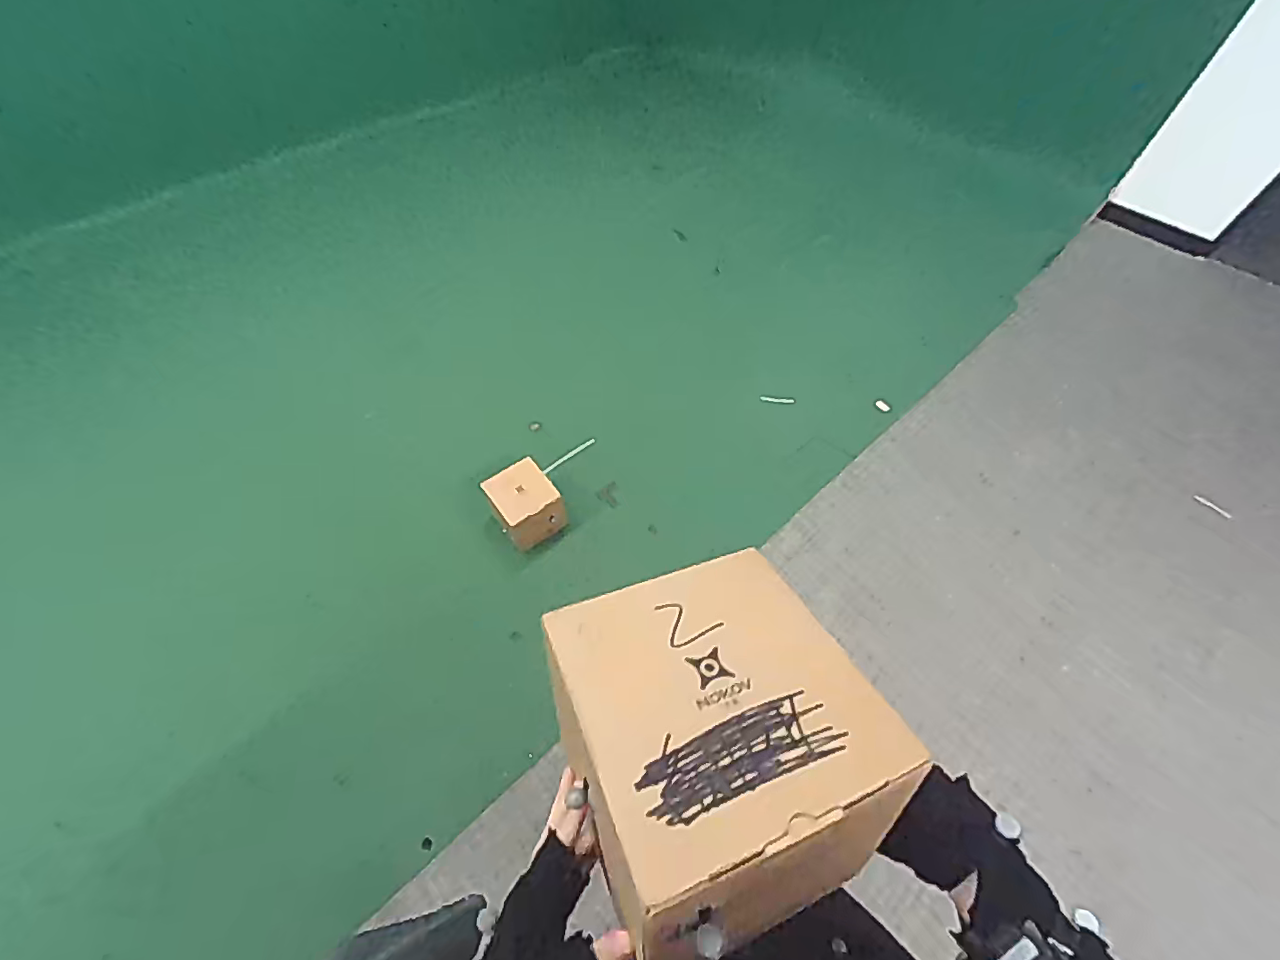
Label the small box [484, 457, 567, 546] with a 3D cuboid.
[{"bbox_3d":[-0.330,0.072,1.594,0.168,0.176,0.179,-33,63,-20],"label":"small box"}]
